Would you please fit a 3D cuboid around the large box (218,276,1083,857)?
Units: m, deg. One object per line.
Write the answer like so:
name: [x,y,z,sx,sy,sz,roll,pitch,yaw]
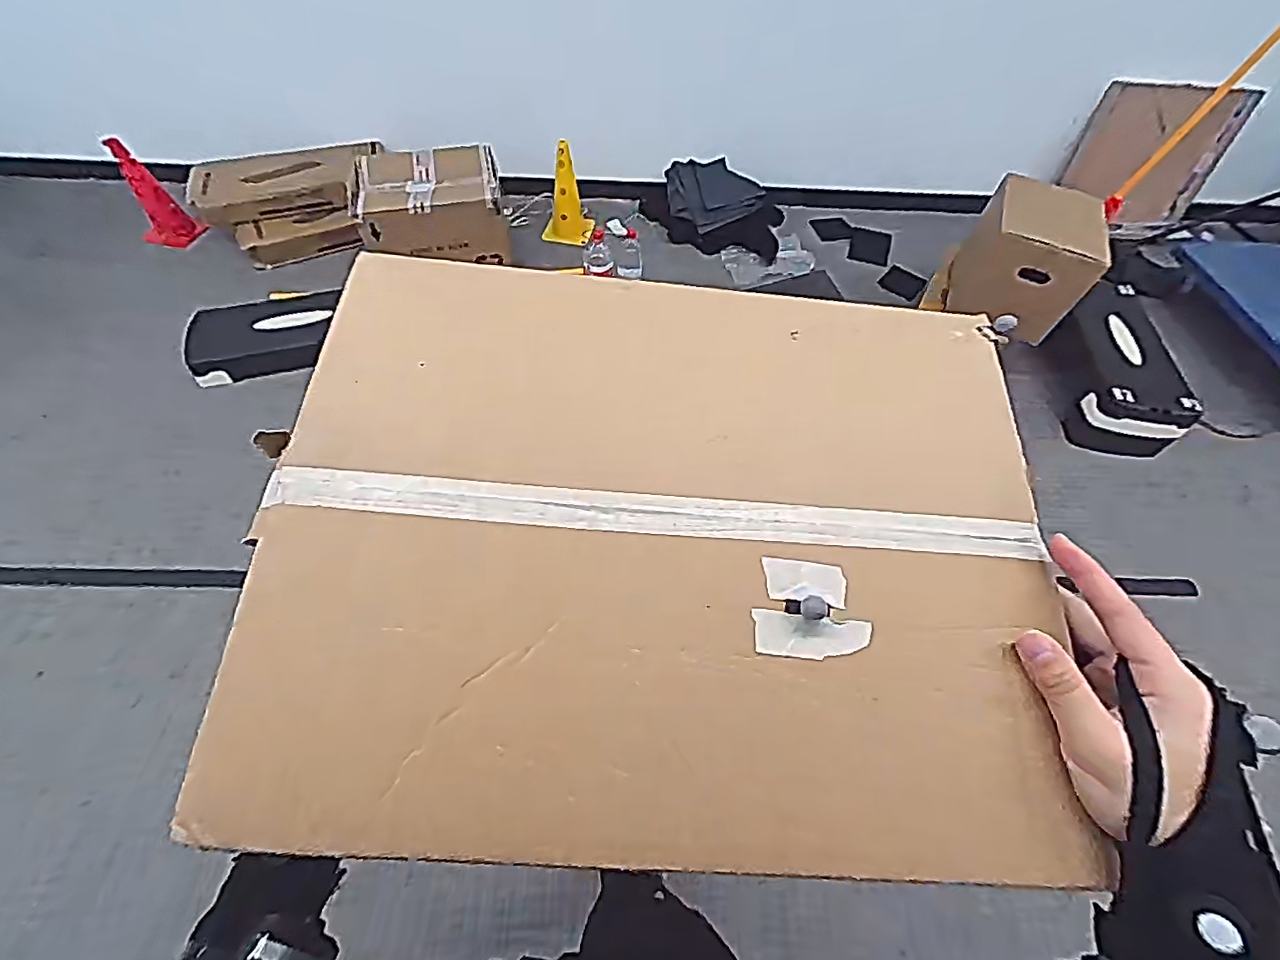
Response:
large box: [0.007,0.080,0.436,0.408,0.320,0.320,5,68,-4]
